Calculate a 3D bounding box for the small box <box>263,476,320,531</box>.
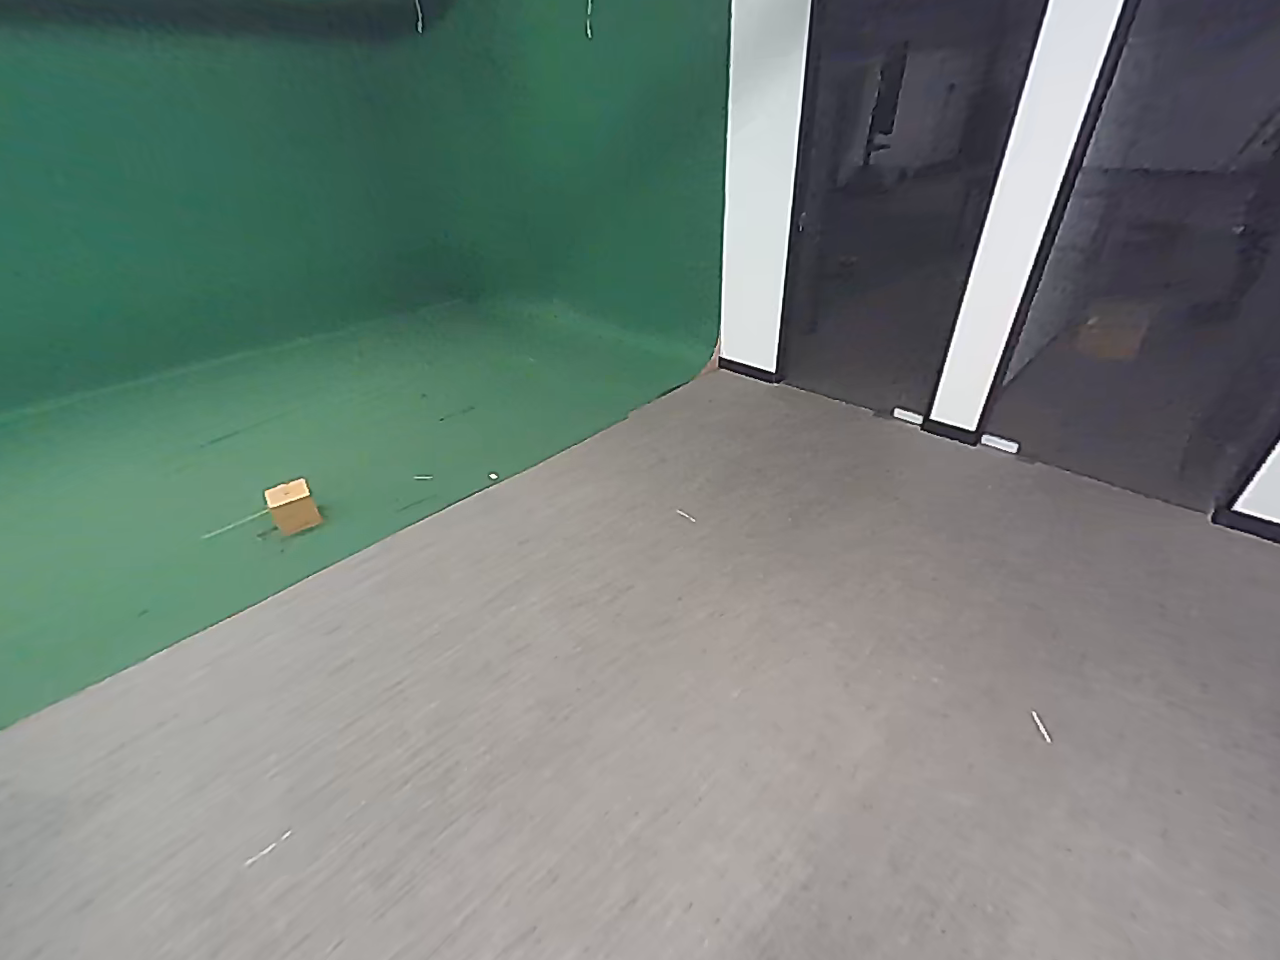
[{"bbox_3d":[-1.605,0.114,2.493,0.168,0.176,0.179,-24,40,-29],"label":"small box"}]
